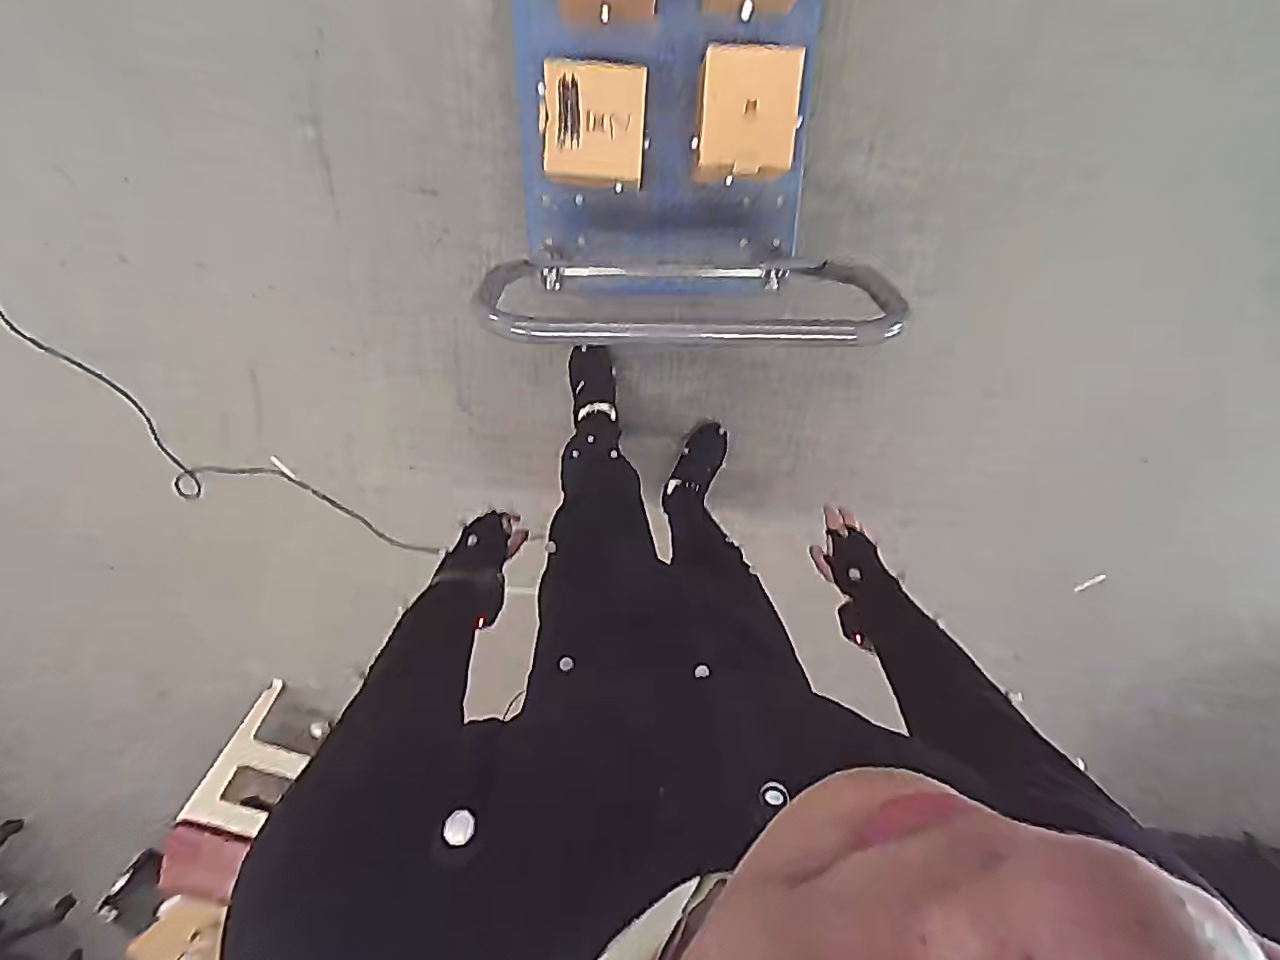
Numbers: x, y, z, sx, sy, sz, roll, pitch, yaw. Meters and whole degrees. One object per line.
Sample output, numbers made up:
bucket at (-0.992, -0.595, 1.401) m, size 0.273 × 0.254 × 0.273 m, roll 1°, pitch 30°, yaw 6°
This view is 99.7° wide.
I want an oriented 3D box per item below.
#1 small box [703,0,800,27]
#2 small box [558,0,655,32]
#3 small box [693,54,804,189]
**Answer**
small box at (0.195, -0.911, 0.914) m, size 0.168 × 0.176 × 0.179 m, roll -2°, pitch 112°, yaw 2°
small box at (-0.058, -0.898, 0.921) m, size 0.168 × 0.176 × 0.179 m, roll -3°, pitch 111°, yaw 0°
small box at (0.192, -0.659, 1.013) m, size 0.168 × 0.176 × 0.179 m, roll 1°, pitch 112°, yaw -1°
